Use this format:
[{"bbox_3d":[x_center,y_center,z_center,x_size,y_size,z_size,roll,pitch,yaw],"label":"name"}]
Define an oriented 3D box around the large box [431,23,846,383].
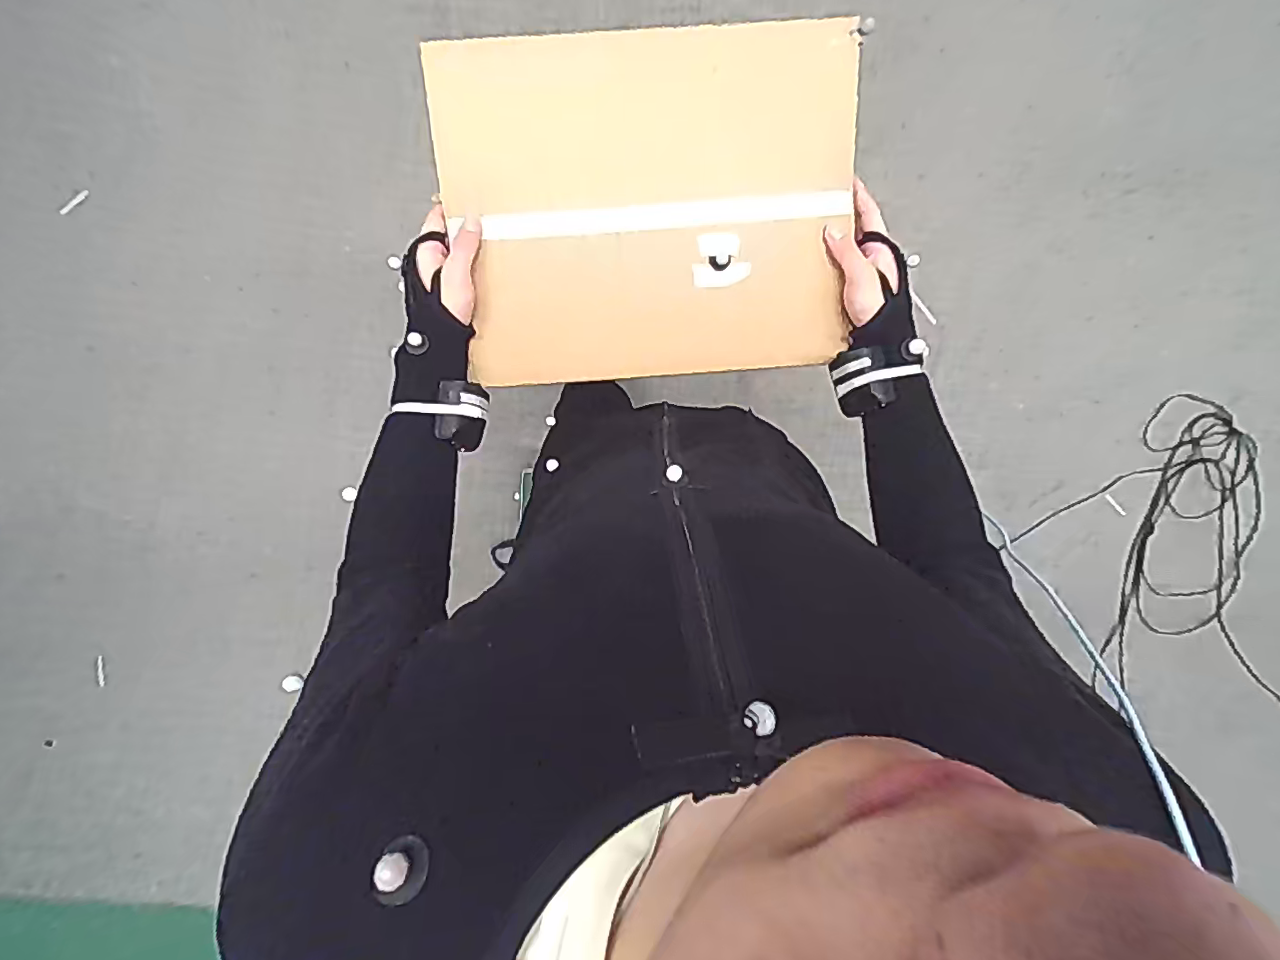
[{"bbox_3d":[0.003,-0.309,0.693,0.408,0.320,0.320,-5,106,-2],"label":"large box"}]
